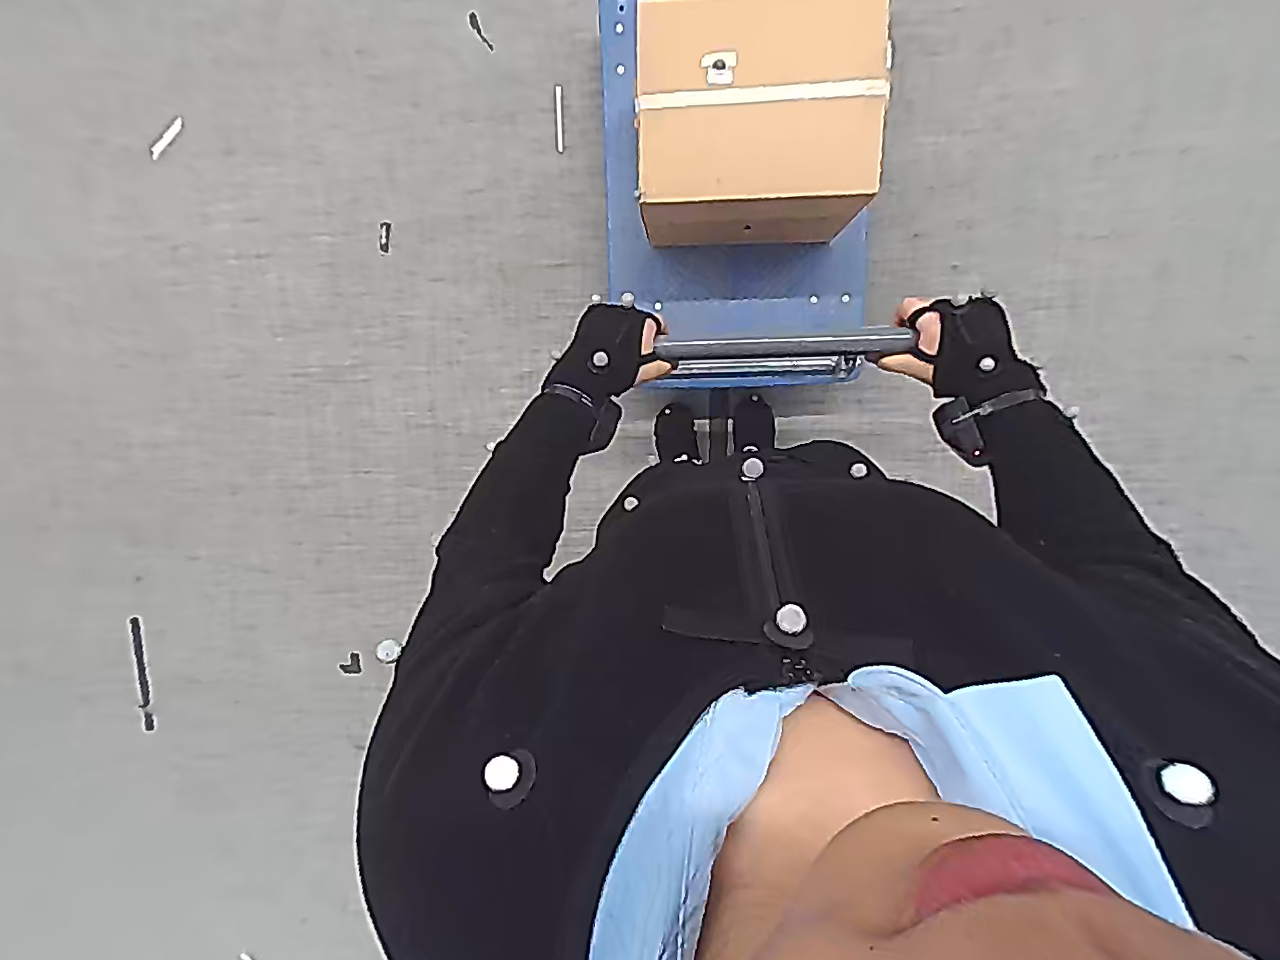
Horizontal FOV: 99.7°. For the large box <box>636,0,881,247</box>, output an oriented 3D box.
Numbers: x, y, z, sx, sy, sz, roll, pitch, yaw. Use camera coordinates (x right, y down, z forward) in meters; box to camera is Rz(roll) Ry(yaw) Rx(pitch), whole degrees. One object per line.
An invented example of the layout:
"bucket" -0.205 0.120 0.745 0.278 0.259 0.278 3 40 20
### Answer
"large box" 0.212 -0.661 1.057 0.408 0.320 0.320 0 99 6
